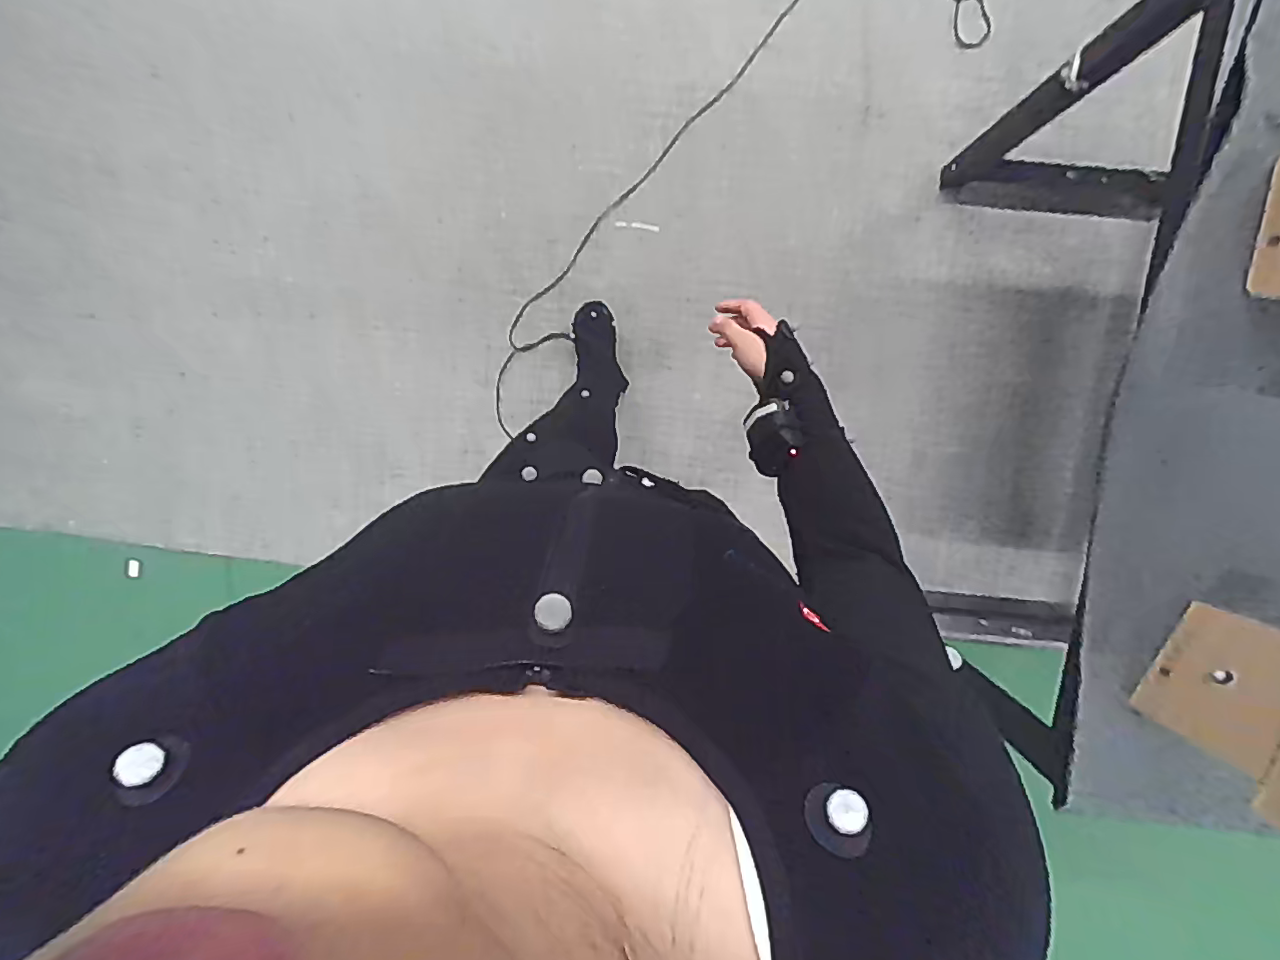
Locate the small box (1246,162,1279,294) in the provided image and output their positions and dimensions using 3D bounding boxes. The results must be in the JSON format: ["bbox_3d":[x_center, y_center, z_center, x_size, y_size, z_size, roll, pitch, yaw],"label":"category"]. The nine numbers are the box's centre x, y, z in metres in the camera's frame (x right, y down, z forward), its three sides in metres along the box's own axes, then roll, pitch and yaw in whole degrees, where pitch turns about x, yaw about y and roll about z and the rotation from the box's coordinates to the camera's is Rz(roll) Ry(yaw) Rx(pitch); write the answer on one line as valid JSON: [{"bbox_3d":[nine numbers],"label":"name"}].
[{"bbox_3d":[0.846,-0.296,0.584,0.179,0.176,0.168,6,98,-1],"label":"small box"}]

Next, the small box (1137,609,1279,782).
[{"bbox_3d":[0.781,0.279,0.656,0.179,0.176,0.168,26,98,-4],"label":"small box"}]
